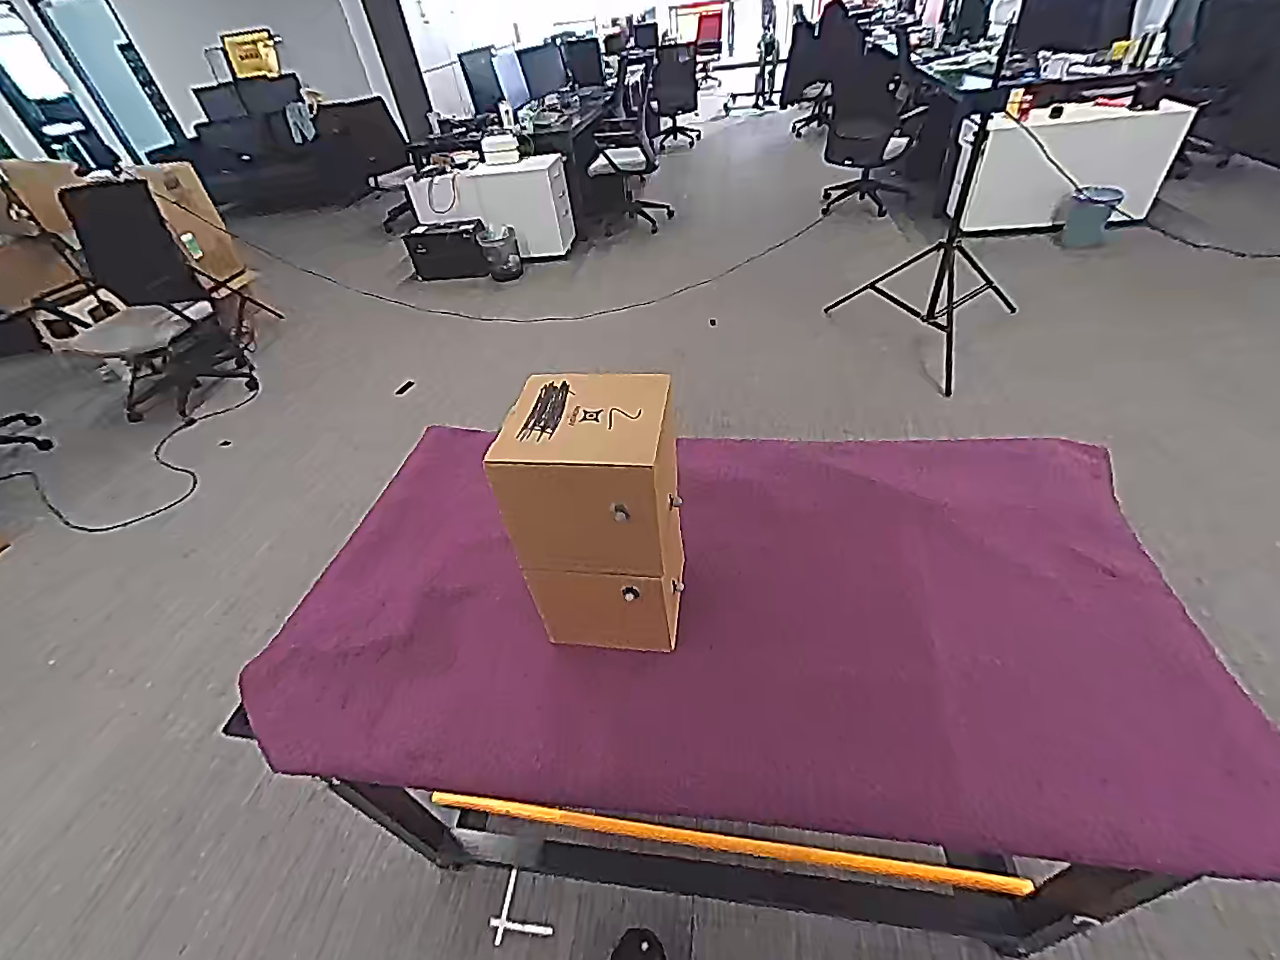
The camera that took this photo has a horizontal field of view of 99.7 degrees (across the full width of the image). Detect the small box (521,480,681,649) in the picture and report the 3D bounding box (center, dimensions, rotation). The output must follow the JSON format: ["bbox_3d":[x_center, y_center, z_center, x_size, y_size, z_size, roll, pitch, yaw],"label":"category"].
[{"bbox_3d":[-0.040,0.116,0.749,0.179,0.176,0.168,2,42,10],"label":"small box"}]
